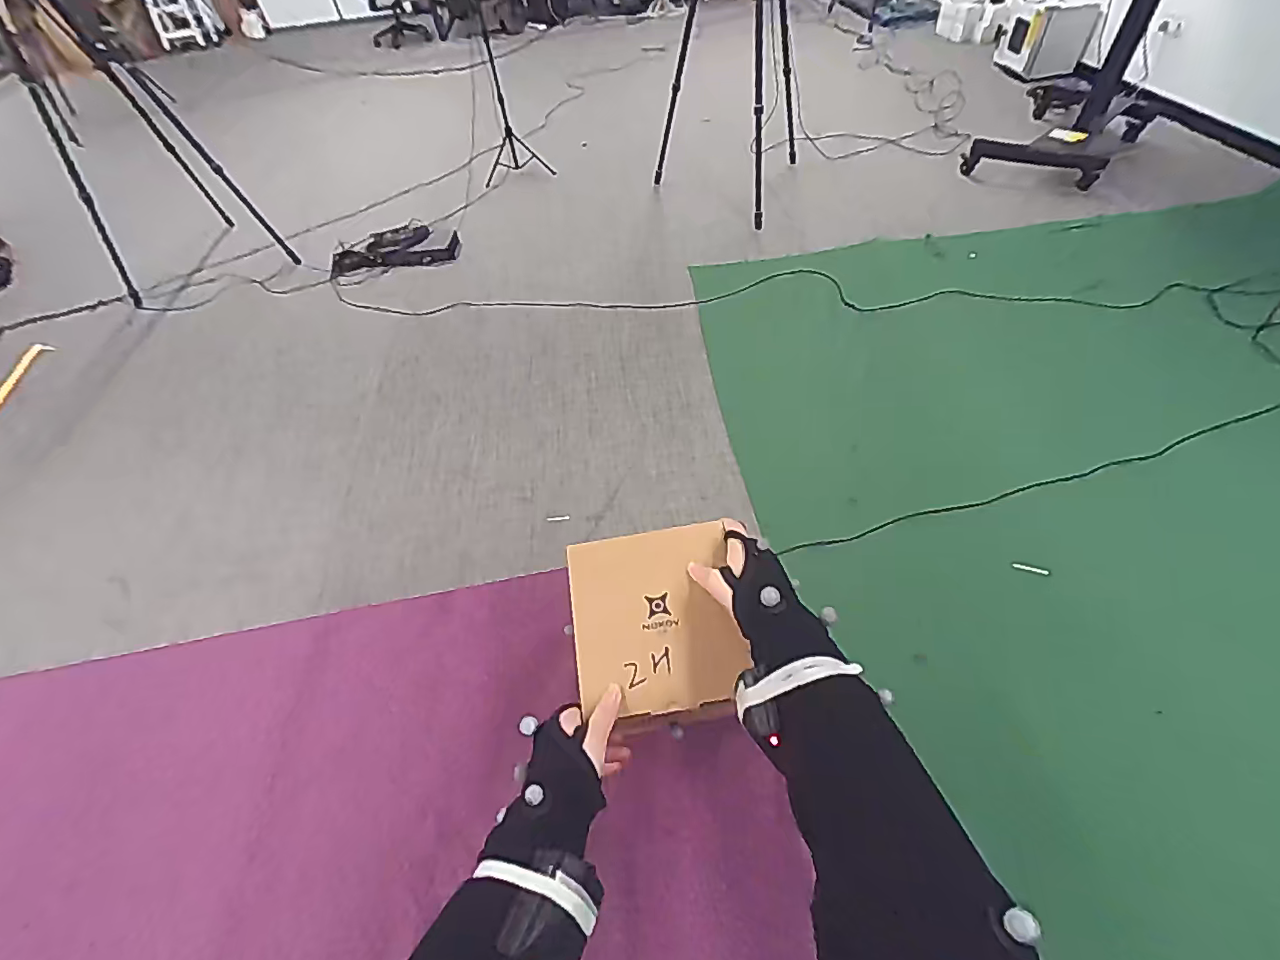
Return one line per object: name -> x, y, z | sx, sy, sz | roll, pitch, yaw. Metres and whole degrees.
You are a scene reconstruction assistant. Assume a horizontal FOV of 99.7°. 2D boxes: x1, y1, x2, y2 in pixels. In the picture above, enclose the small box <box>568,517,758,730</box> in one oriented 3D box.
small box -> 0.020, 0.163, 0.592 | 0.168, 0.176, 0.179 | -9, 61, 0
